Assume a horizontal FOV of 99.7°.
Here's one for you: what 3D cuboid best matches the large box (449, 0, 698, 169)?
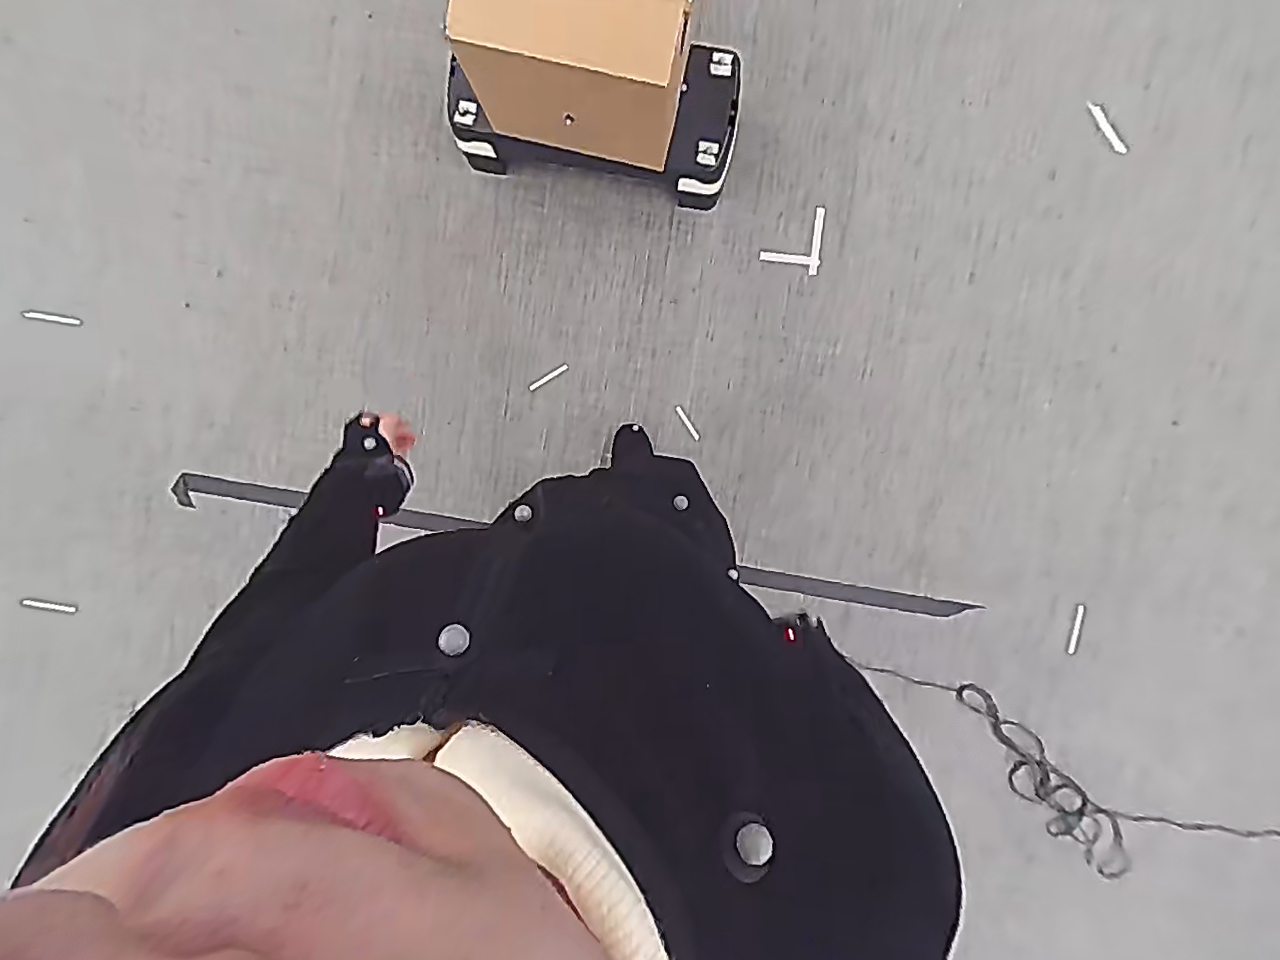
[{"bbox_3d":[-0.104,-0.876,1.072,0.408,0.320,0.320,12,94,1],"label":"large box"}]

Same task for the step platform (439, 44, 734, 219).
[{"bbox_3d":[-0.121,-0.888,1.311,0.684,0.204,0.286,15,95,1],"label":"step platform"}]
